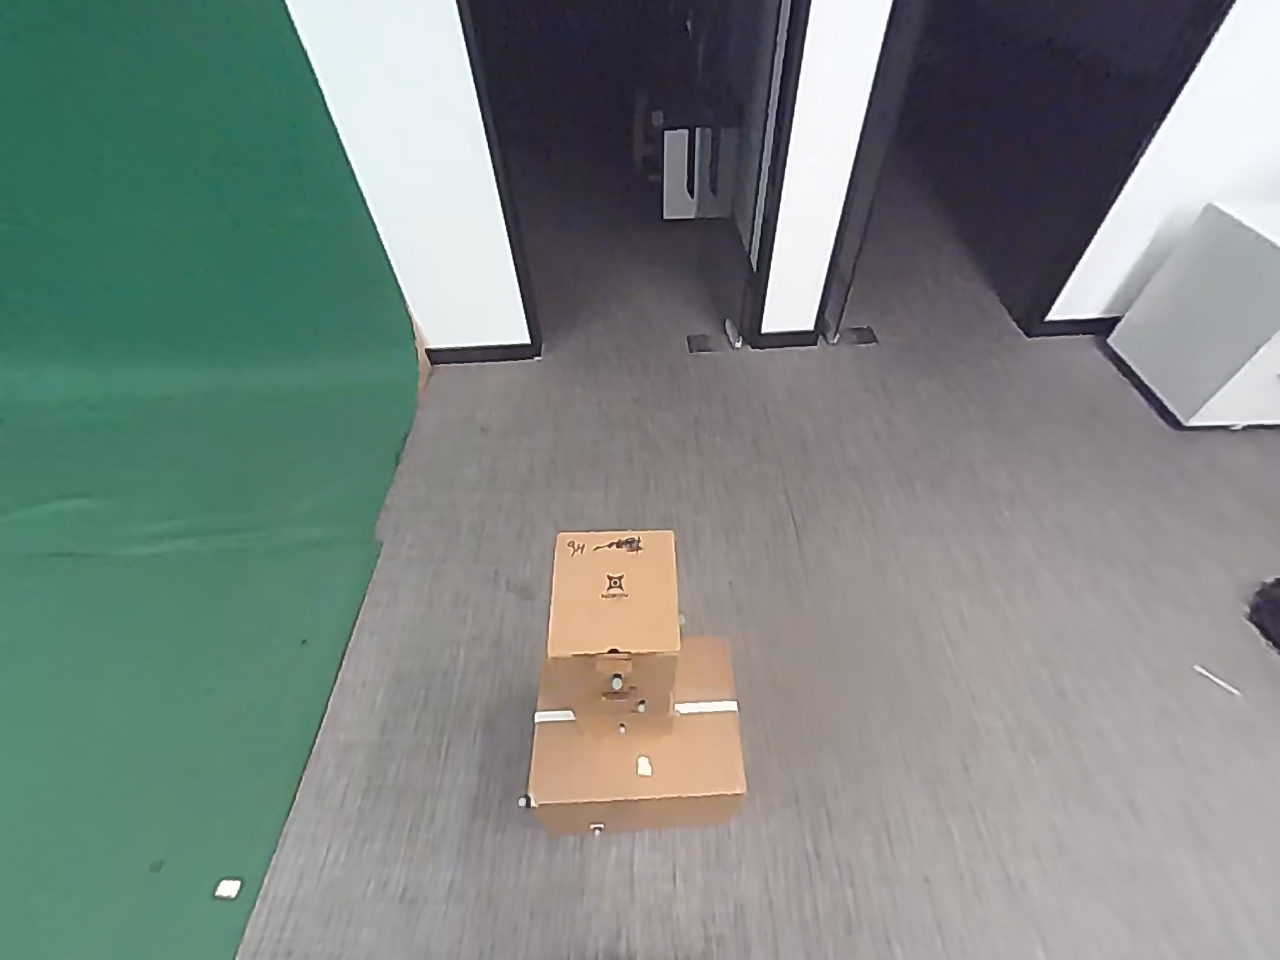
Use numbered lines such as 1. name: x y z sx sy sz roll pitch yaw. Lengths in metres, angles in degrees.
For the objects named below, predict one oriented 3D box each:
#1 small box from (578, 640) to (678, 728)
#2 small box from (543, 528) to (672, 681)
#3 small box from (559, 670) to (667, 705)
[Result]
1. small box: -0.024 0.375 1.046 0.179 0.176 0.168 -3 56 -1
2. small box: -0.037 0.186 0.782 0.168 0.176 0.179 -2 56 1
3. small box: -0.038 0.277 0.918 0.168 0.176 0.179 -1 54 1
